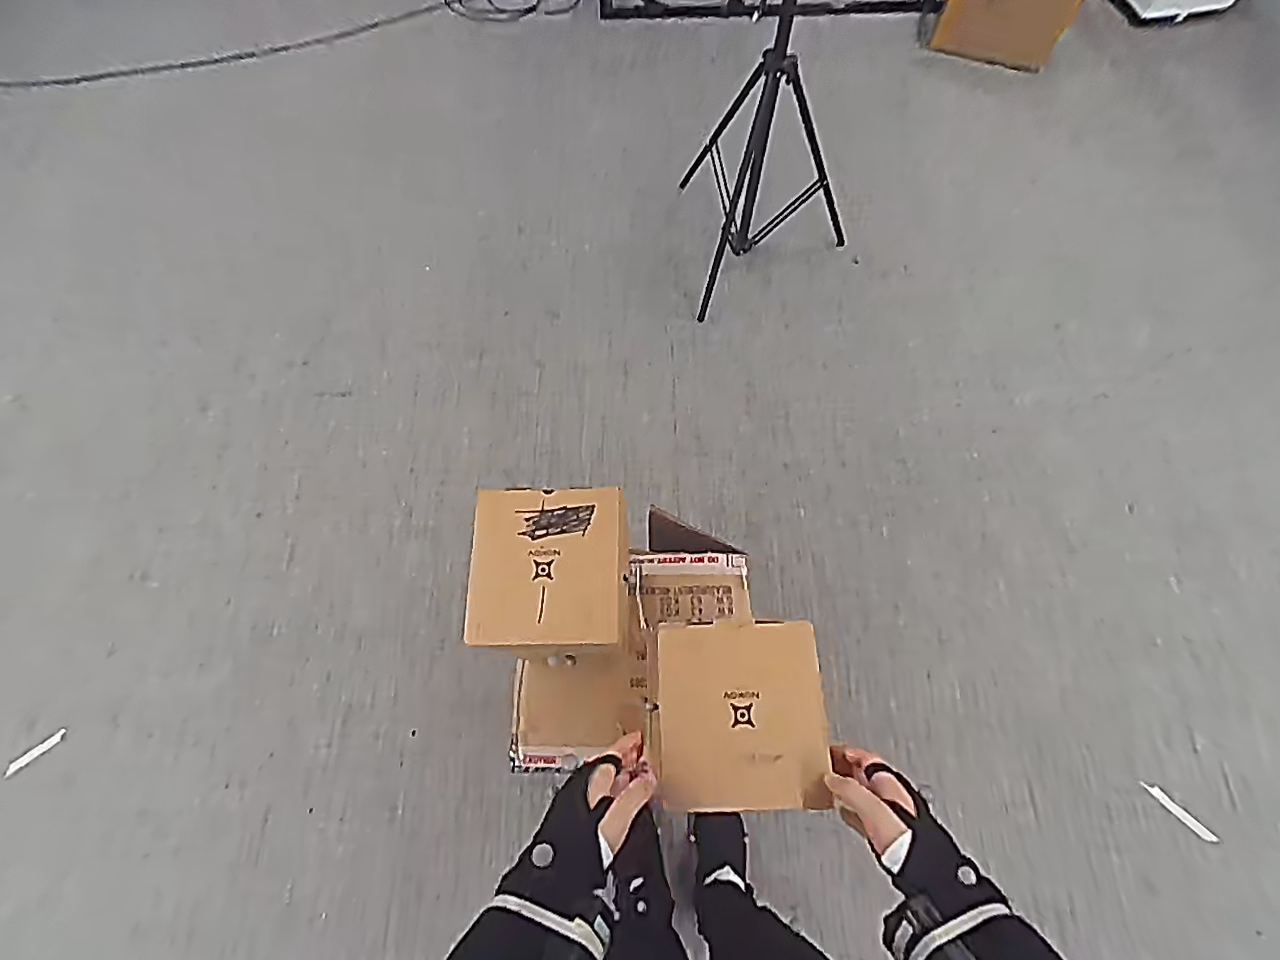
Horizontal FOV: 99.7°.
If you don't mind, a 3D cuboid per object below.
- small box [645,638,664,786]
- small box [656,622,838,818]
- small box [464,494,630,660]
[{"bbox_3d":[0.091,0.319,0.765,0.168,0.176,0.179,-1,68,0],"label":"small box"},{"bbox_3d":[0.104,0.262,0.611,0.168,0.176,0.179,-3,70,1],"label":"small box"},{"bbox_3d":[-0.100,0.126,0.667,0.168,0.176,0.179,-1,69,2],"label":"small box"}]
